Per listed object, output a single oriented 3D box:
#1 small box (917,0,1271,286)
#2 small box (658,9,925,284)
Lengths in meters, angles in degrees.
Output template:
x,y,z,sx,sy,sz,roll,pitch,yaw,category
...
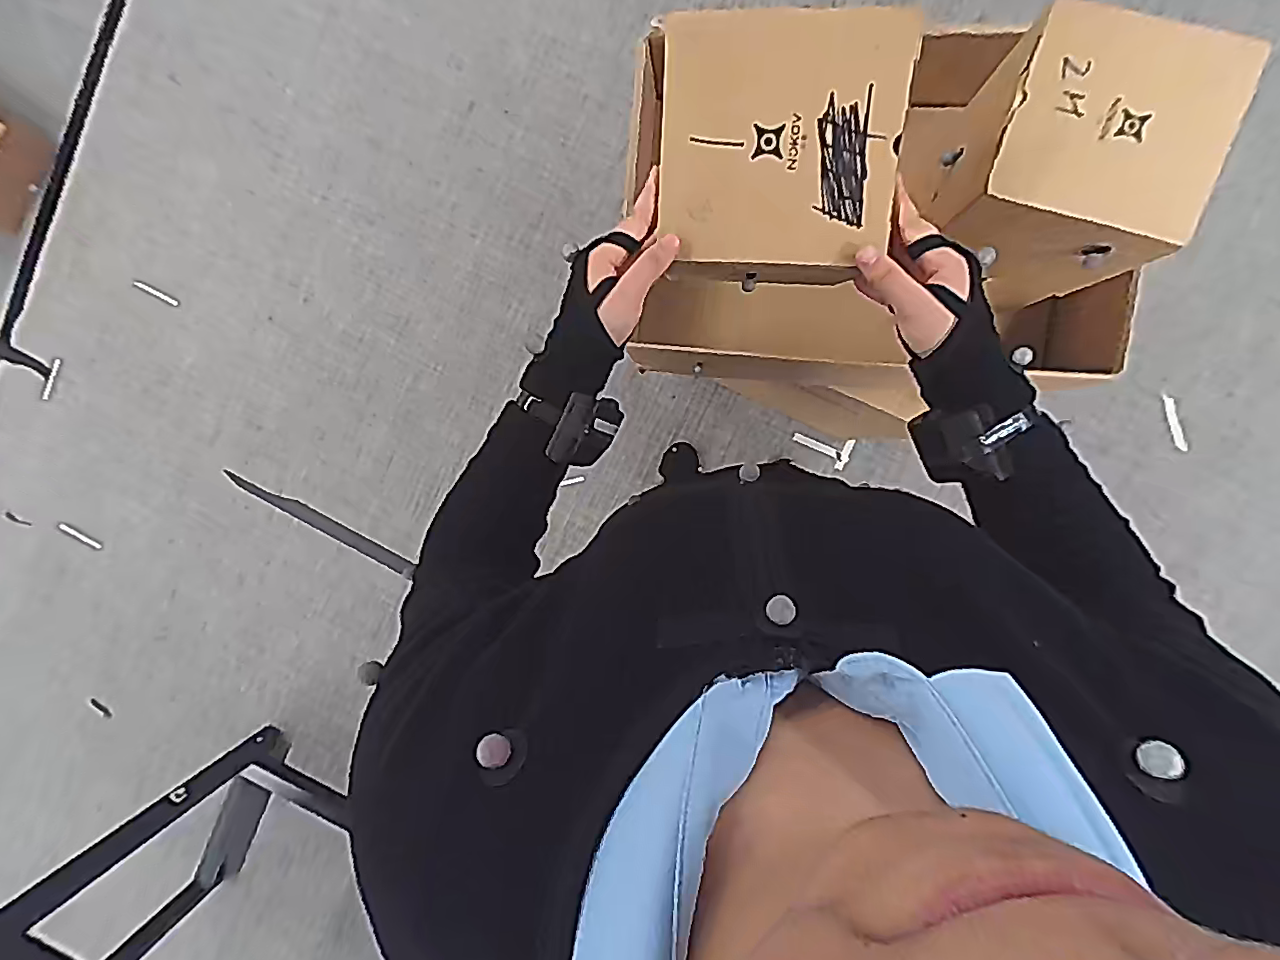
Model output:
x,y,z,sx,sy,sz,roll,pitch,yaw,category
0.413,-0.307,0.532,0.179,0.176,0.168,19,97,6,small box
0.113,-0.266,0.470,0.179,0.176,0.168,4,106,6,small box
